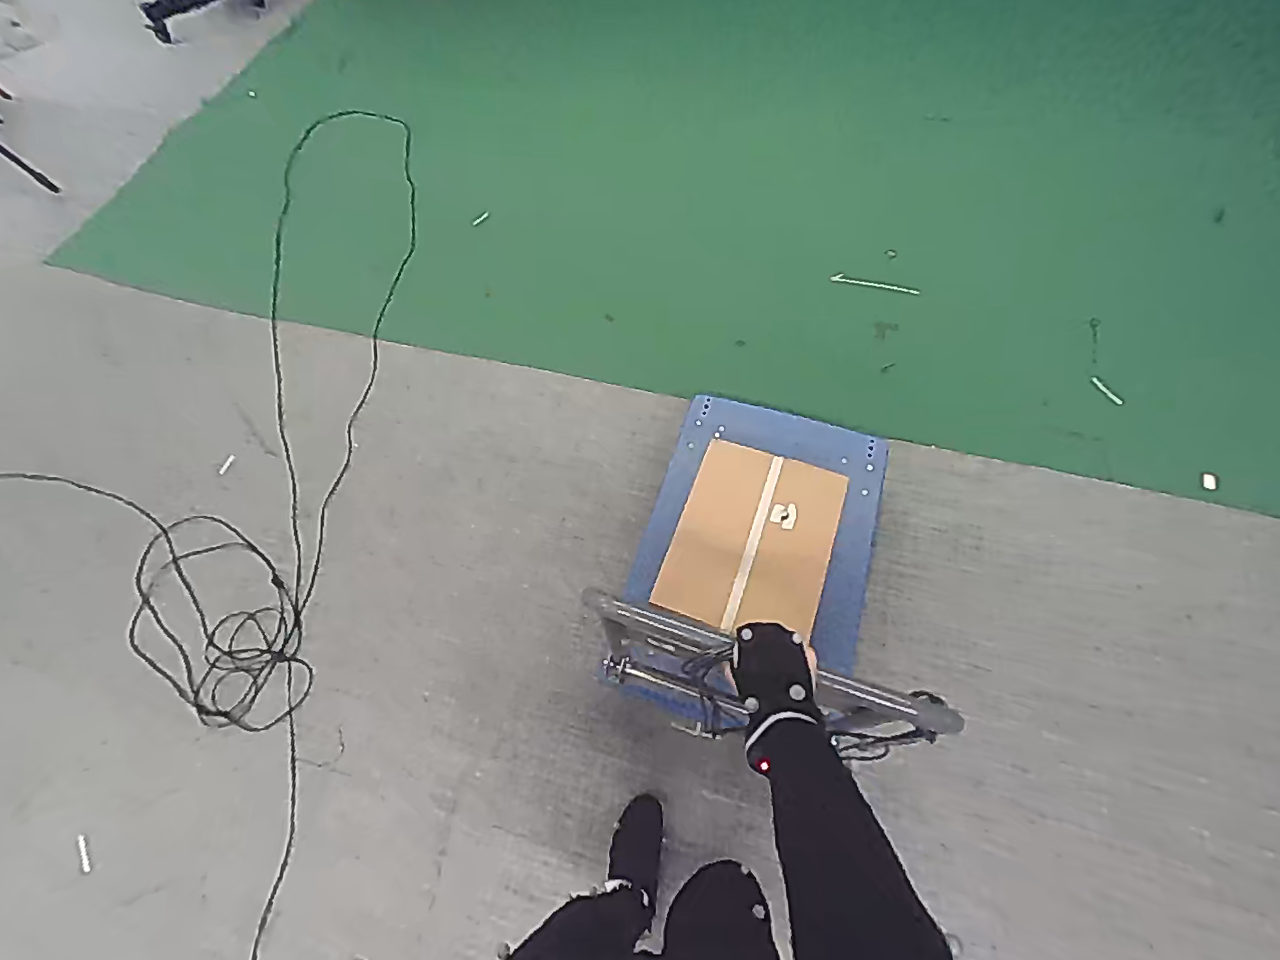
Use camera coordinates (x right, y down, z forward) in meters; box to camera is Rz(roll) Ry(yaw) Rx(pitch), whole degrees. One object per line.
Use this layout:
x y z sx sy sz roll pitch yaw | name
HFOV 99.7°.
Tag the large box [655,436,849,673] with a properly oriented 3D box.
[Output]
0.245 0.178 1.238 0.320 0.320 0.408 19 66 11 | large box
